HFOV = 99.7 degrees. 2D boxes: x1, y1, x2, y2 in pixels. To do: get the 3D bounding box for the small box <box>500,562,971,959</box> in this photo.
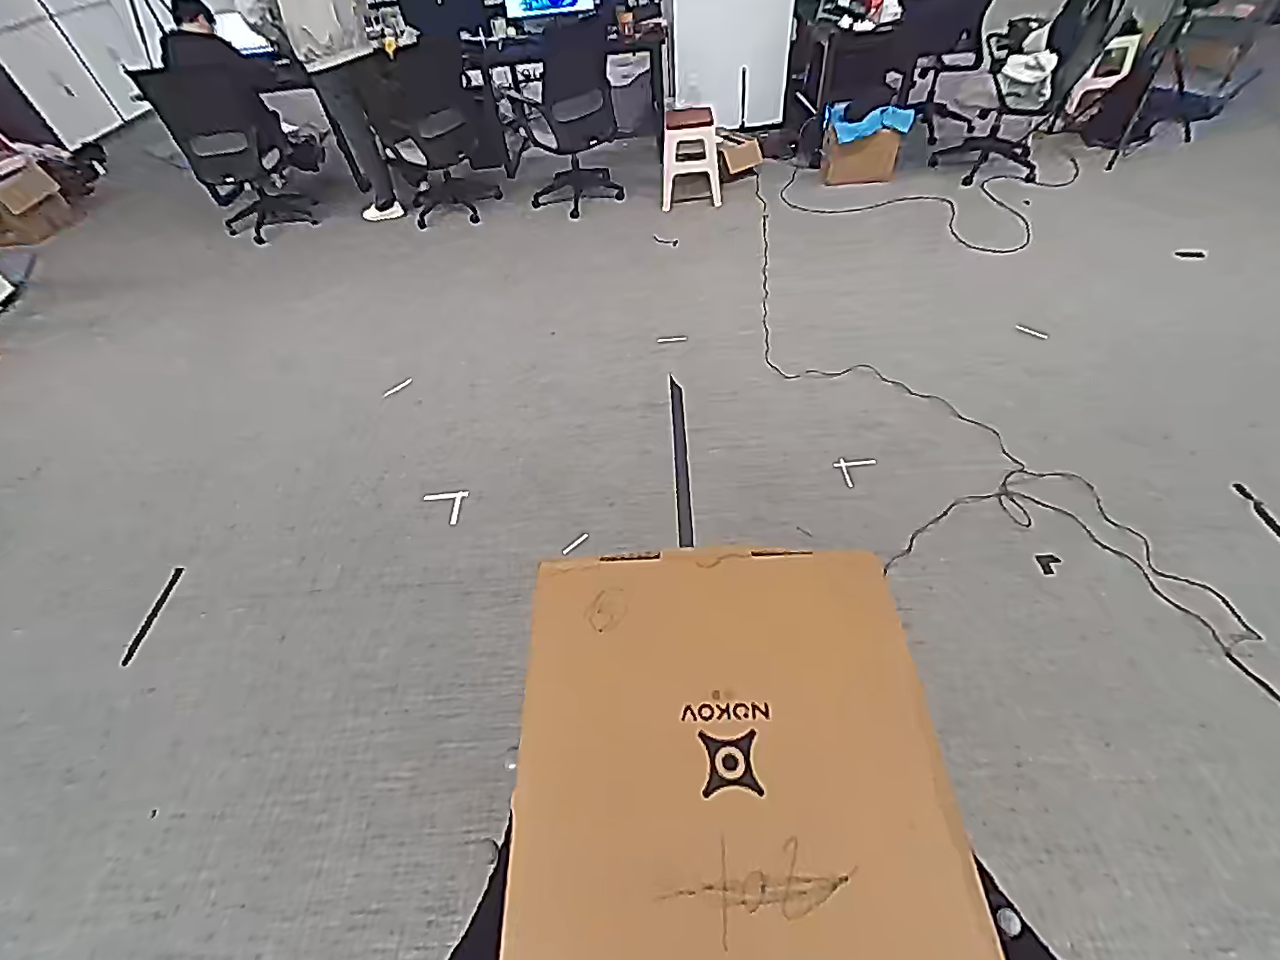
[{"bbox_3d":[0.032,0.159,0.289,0.168,0.176,0.179,-1,56,0],"label":"small box"}]
